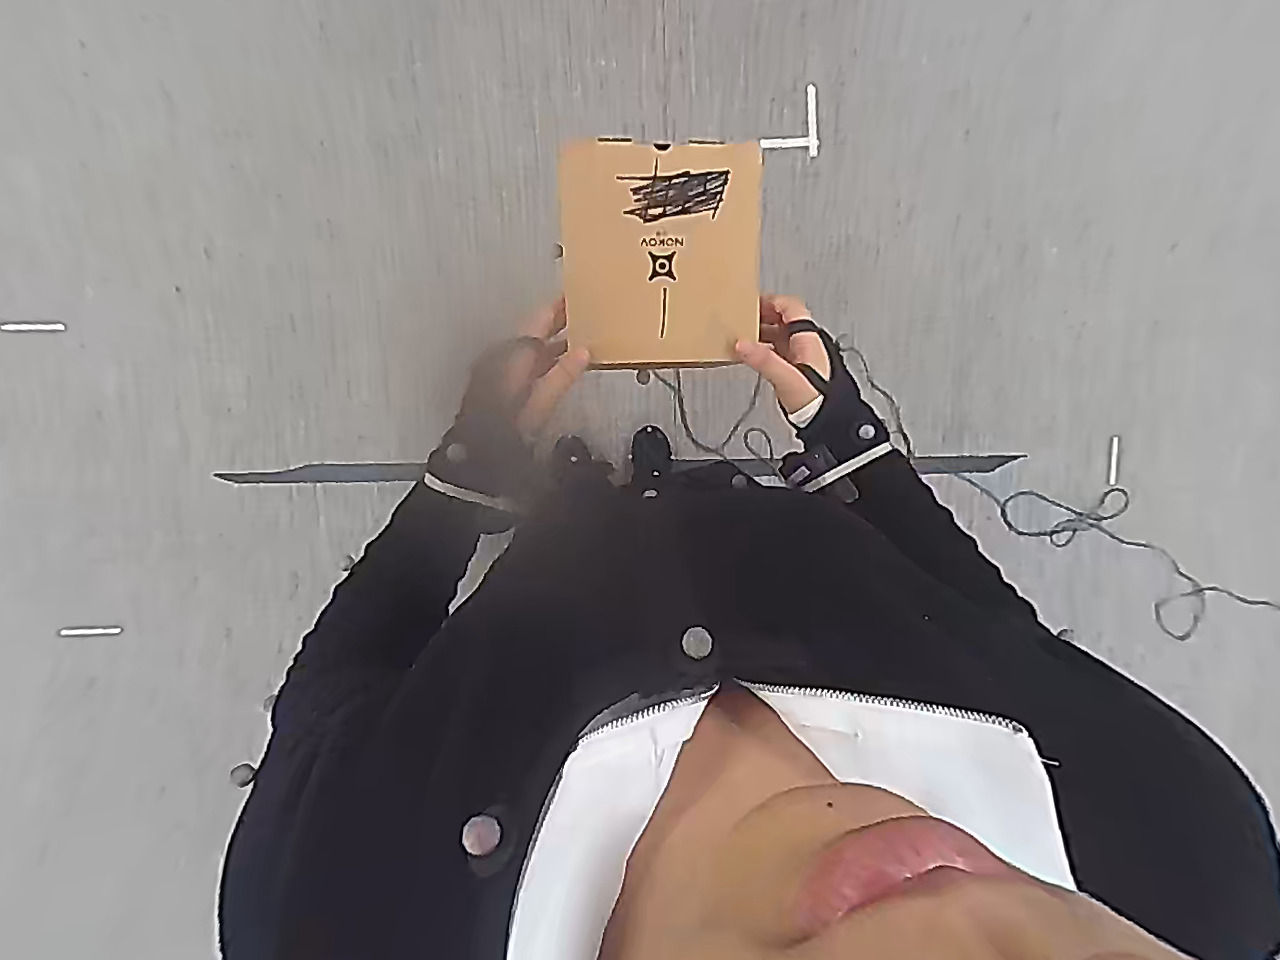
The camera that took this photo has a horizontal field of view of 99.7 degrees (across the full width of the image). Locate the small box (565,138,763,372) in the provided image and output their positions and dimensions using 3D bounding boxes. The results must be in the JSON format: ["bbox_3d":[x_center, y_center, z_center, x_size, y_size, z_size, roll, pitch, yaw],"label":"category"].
[{"bbox_3d":[0.012,-0.197,0.523,0.168,0.176,0.179,-2,100,-6],"label":"small box"}]
